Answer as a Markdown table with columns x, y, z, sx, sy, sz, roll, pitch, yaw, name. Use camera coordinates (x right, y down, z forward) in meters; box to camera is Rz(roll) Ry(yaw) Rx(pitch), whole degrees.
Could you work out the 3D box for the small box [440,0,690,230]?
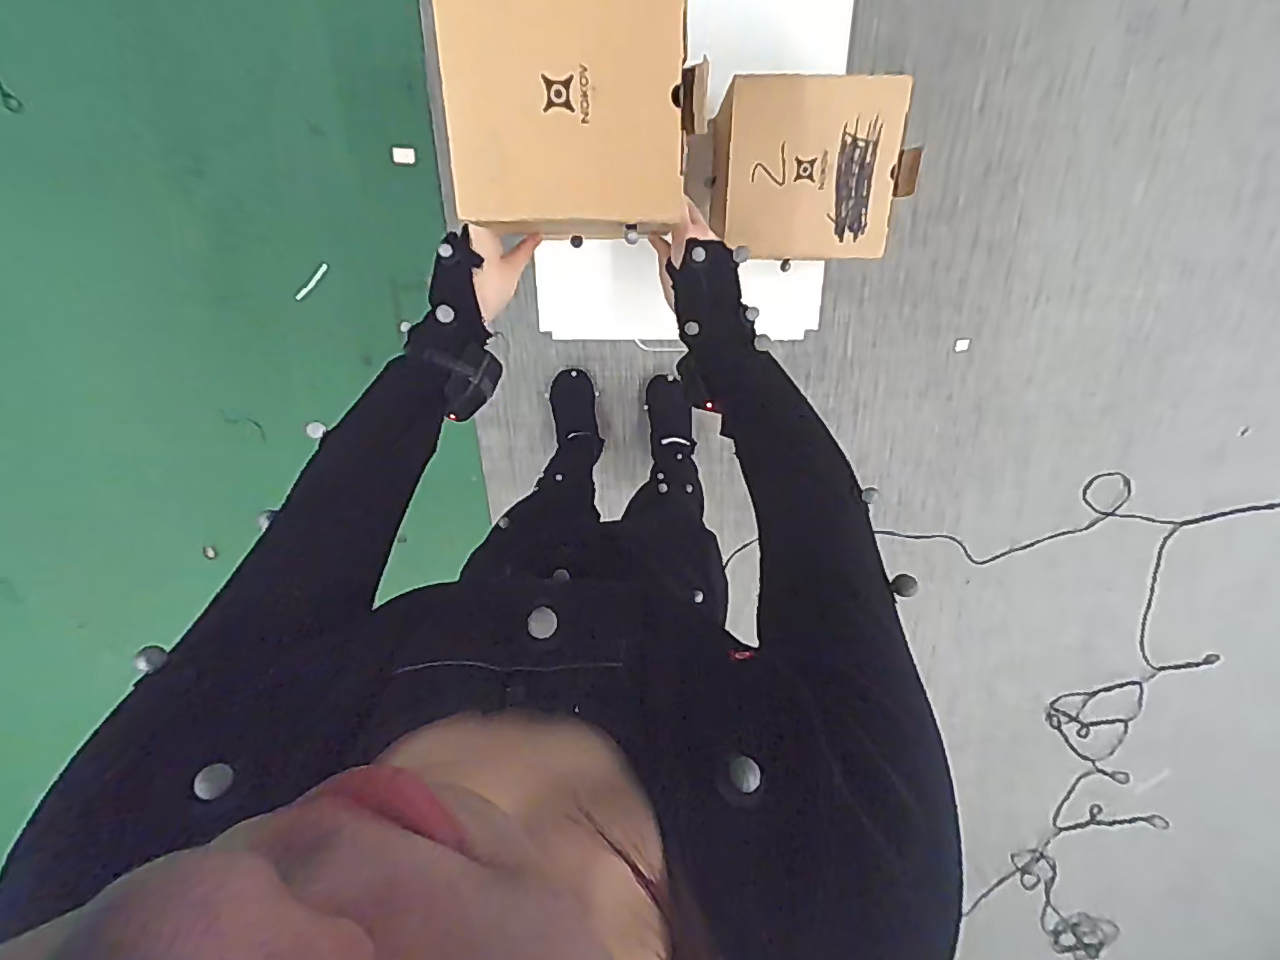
| x | y | z | sx | sy | sz | roll | pitch | yaw | name |
| --- | --- | --- | --- | --- | --- | --- | --- | --- | --- |
| -0.055 | -0.313 | 0.465 | 0.179 | 0.176 | 0.168 | -1 | 110 | -3 | small box |
